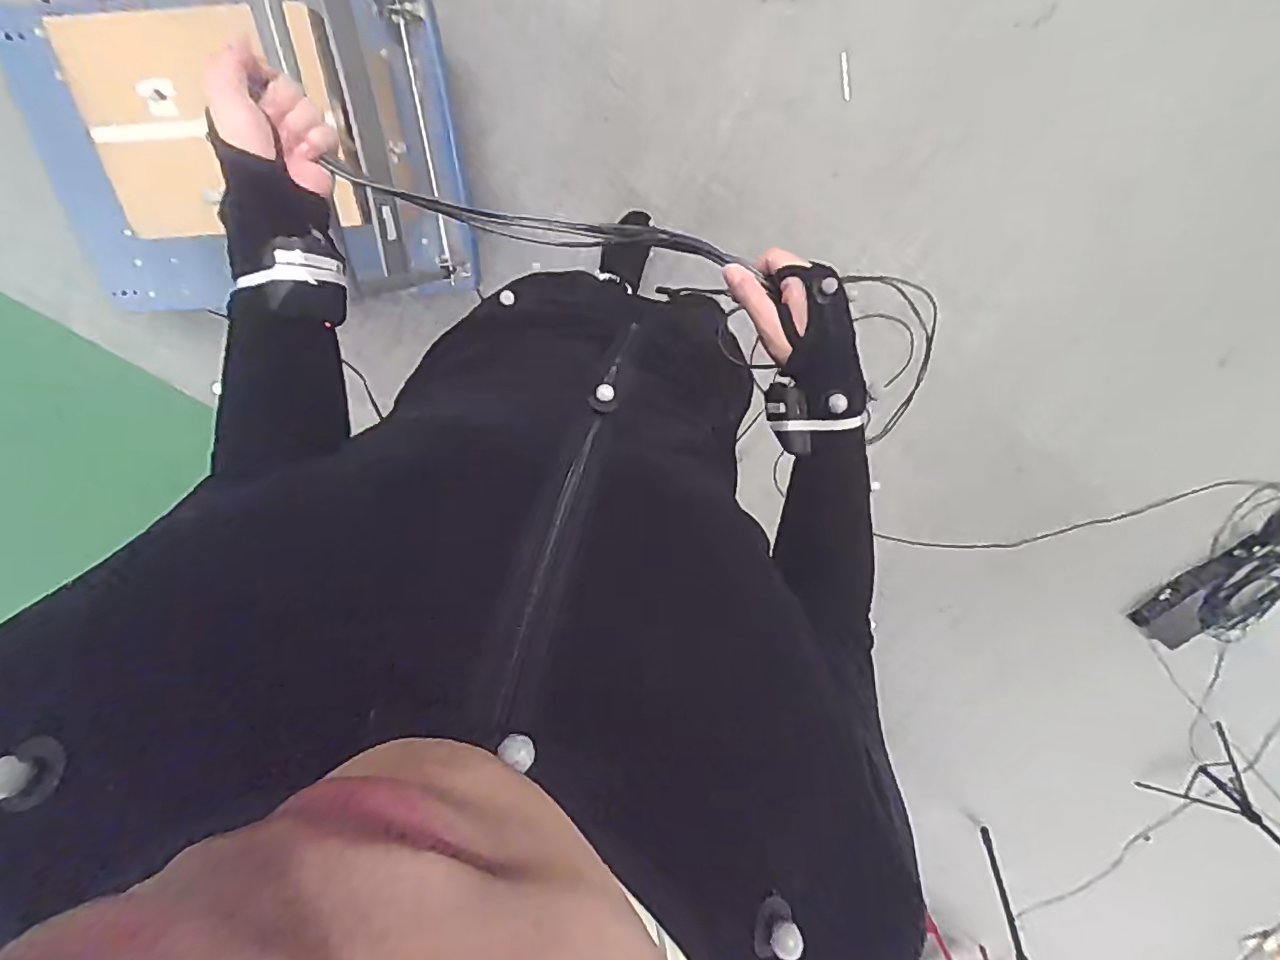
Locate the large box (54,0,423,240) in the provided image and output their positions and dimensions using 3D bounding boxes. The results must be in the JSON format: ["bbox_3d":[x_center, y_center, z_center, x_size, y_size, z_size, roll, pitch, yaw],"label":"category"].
[{"bbox_3d":[-0.689,-0.640,1.018,0.408,0.320,0.320,-4,115,1],"label":"large box"}]
